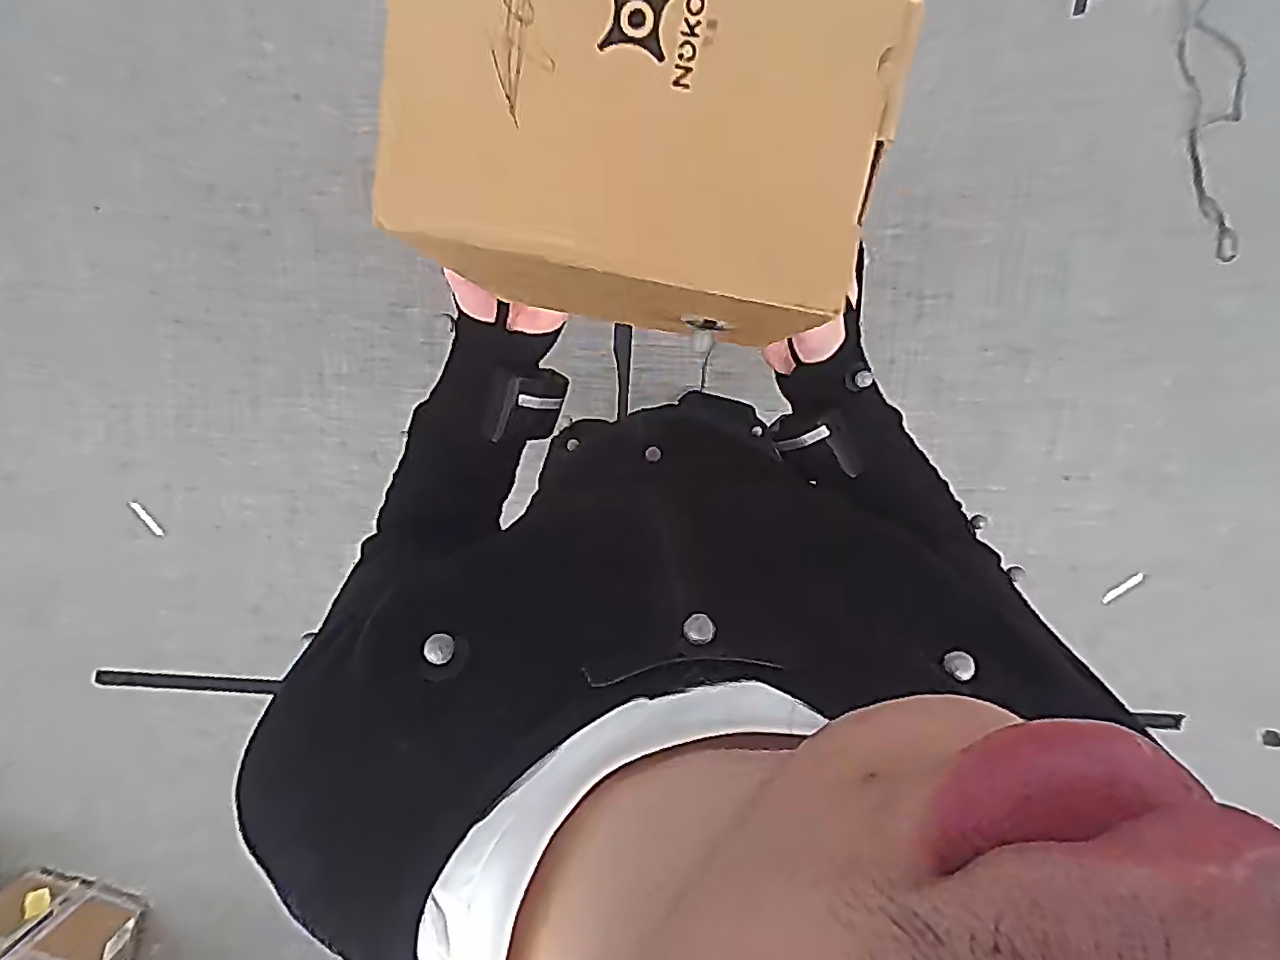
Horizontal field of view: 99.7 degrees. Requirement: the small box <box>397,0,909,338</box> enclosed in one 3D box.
[{"bbox_3d":[0.006,-0.170,0.272,0.179,0.176,0.168,9,100,0],"label":"small box"}]
